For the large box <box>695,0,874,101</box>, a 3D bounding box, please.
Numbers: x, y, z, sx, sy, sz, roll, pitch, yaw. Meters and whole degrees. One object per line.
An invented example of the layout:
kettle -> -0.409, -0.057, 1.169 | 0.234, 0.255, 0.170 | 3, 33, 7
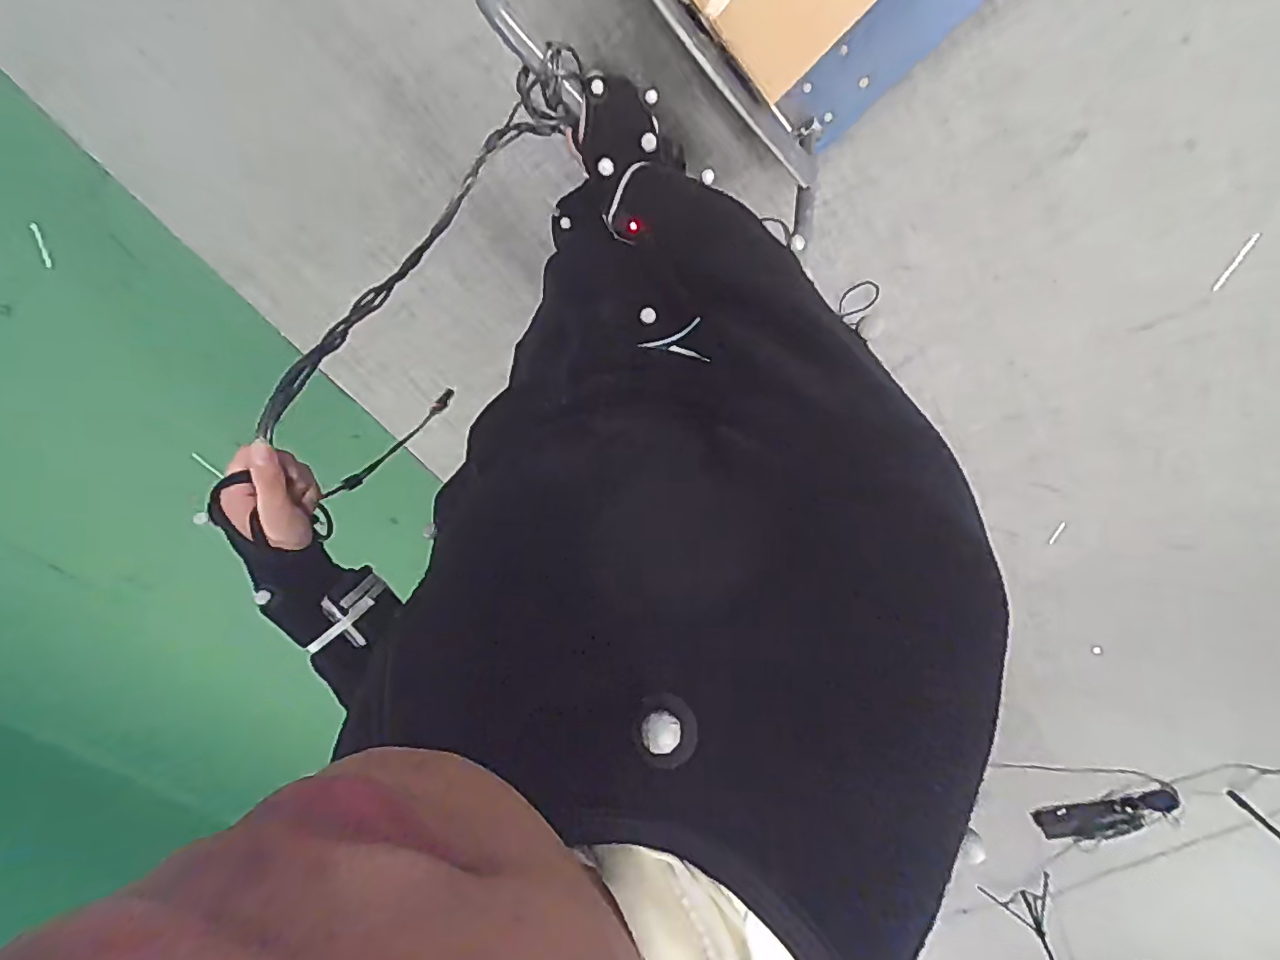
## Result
large box -> 0.258, -0.864, 0.781 | 0.408, 0.320, 0.320 | -31, 119, 35
